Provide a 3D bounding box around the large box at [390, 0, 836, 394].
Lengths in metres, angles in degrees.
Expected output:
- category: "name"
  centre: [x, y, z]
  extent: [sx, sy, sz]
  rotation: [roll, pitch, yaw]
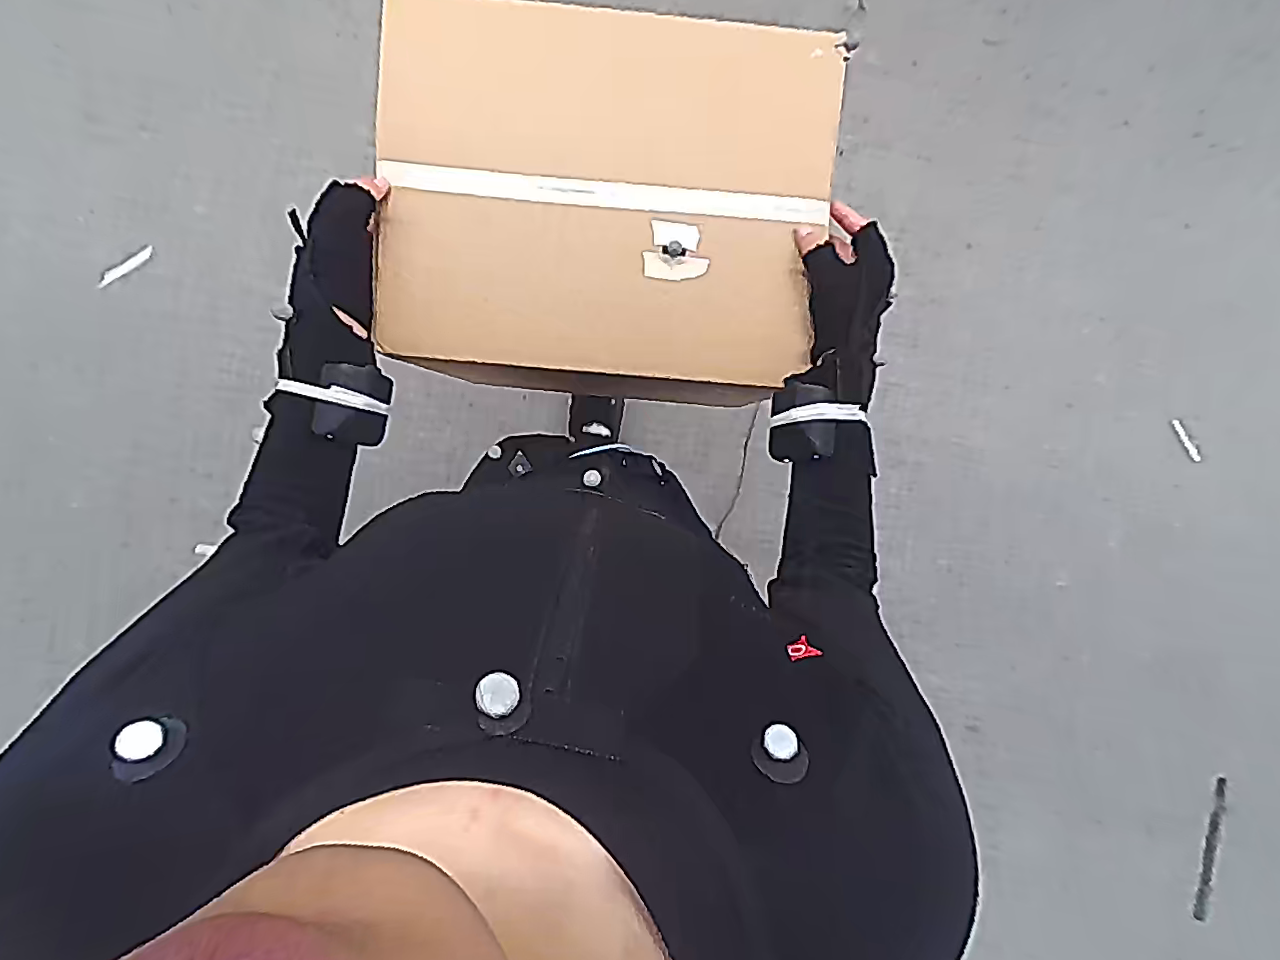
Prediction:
- category: "large box"
  centre: [-0.033, -0.282, 0.649]
  extent: [0.408, 0.320, 0.320]
  rotation: [5, 96, -2]
